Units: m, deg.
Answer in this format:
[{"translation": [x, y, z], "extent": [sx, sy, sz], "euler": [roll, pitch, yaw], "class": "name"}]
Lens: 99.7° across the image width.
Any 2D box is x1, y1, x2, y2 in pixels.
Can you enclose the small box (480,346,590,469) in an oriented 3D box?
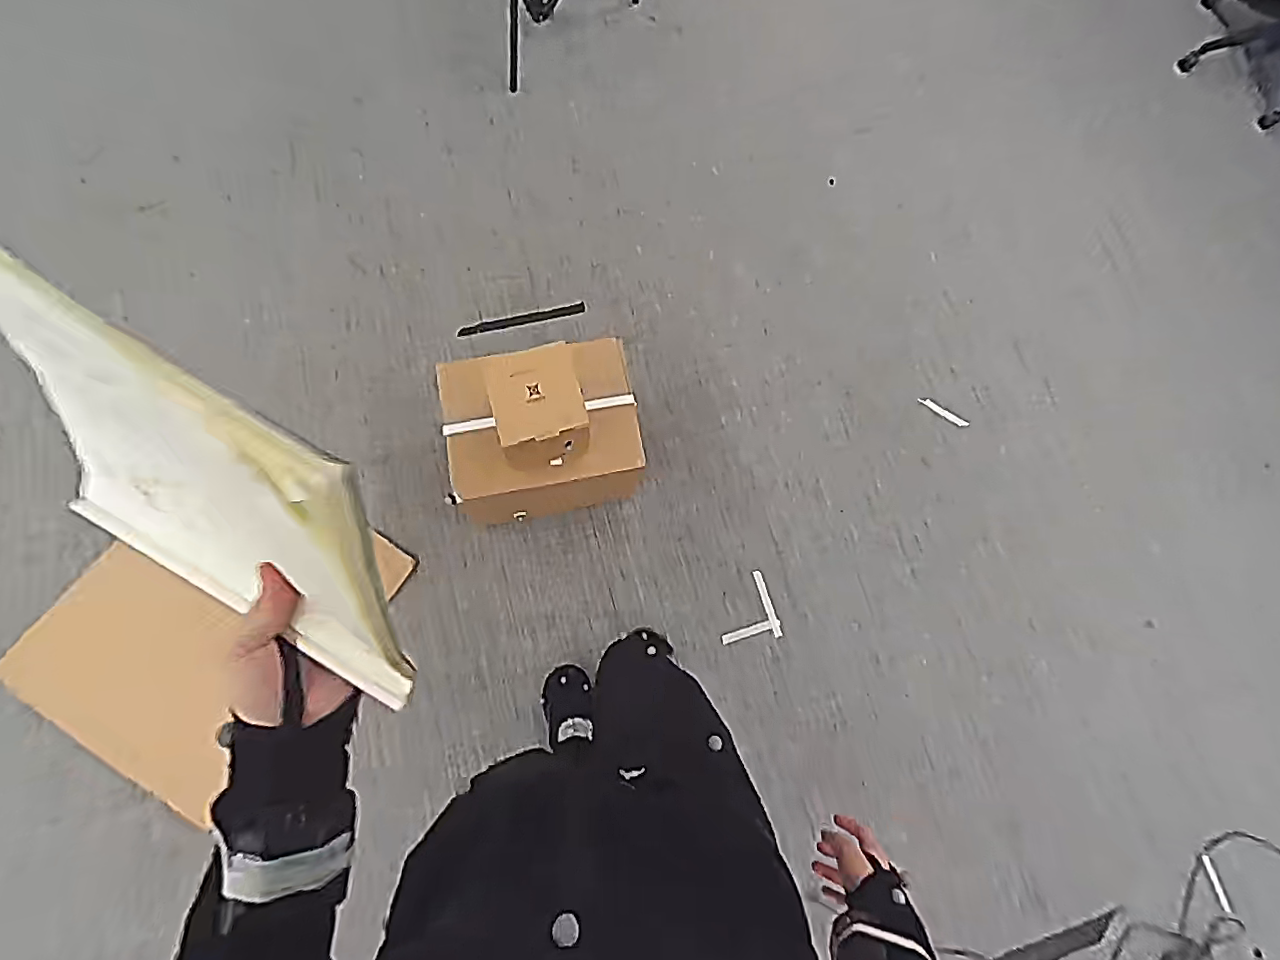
[{"translation": [-0.198, -0.131, 1.057], "extent": [0.168, 0.176, 0.179], "euler": [-16, 78, -11], "class": "small box"}]
